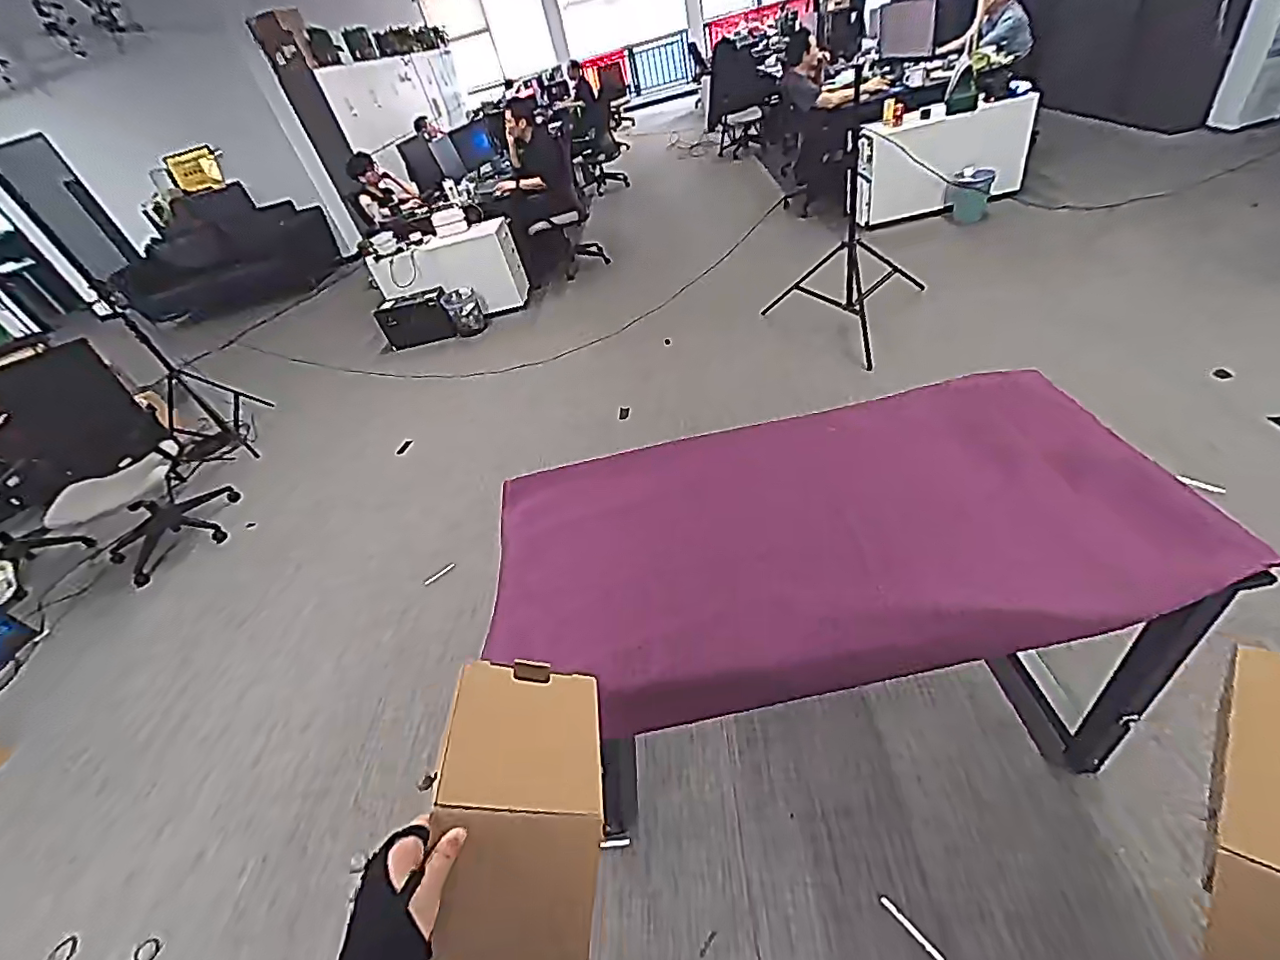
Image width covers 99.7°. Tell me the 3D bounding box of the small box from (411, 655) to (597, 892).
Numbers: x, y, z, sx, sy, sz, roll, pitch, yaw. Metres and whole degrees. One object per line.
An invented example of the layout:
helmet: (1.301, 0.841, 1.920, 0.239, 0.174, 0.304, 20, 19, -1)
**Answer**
small box: (-0.153, 0.339, 0.626, 0.168, 0.176, 0.179, 16, 26, -15)
